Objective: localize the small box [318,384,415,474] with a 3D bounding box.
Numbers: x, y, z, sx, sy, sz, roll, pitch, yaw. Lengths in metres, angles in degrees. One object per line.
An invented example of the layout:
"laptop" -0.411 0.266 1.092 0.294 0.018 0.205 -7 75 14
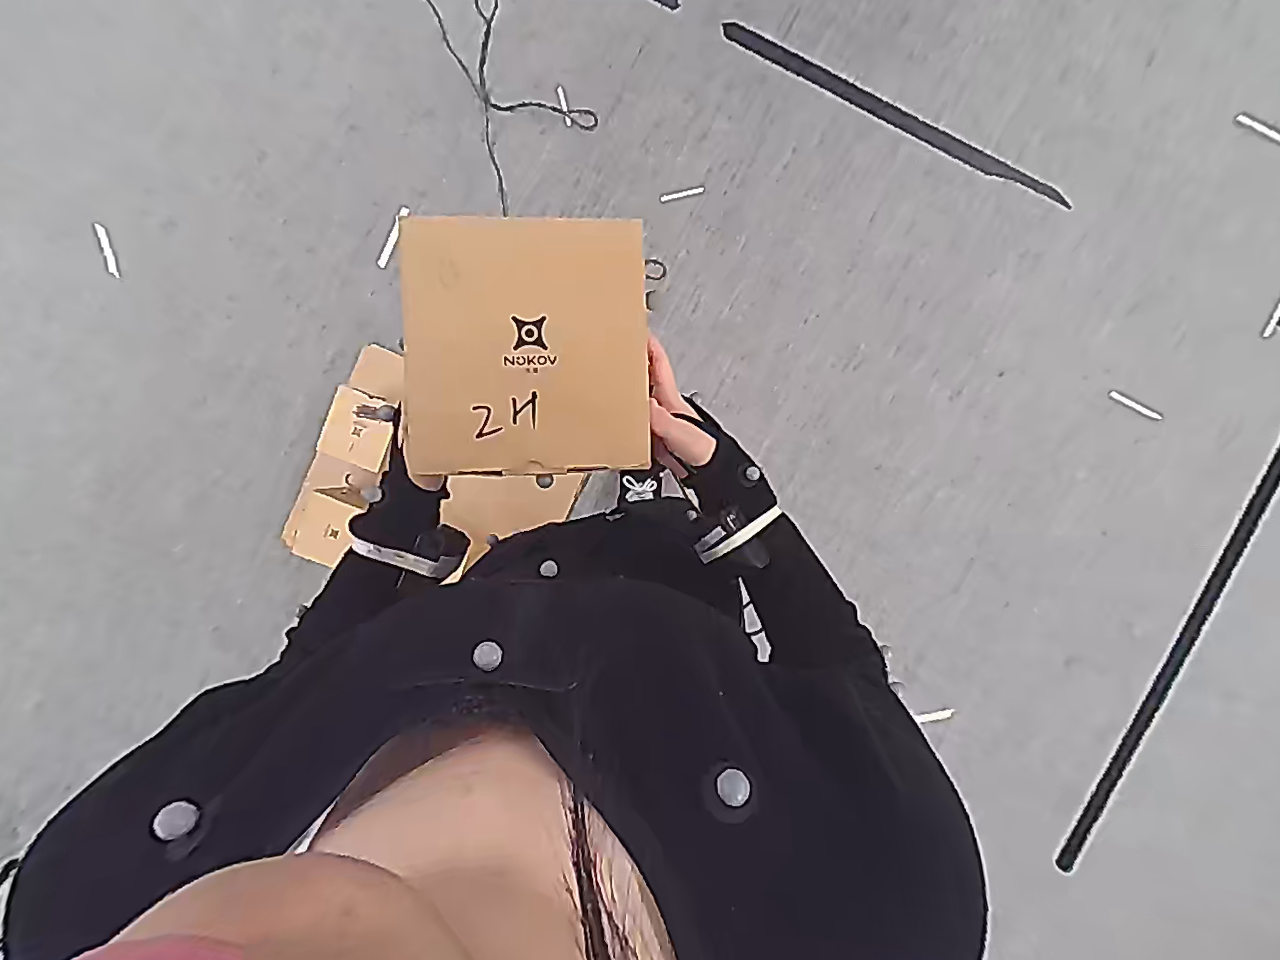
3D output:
"small box" -0.678 -0.126 1.390 0.168 0.176 0.179 21 92 0

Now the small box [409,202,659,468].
"small box" -0.078 -0.099 0.442 0.168 0.176 0.179 -2 93 -6

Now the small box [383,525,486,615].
"small box" -0.519 0.223 1.396 0.179 0.176 0.168 21 91 -1
